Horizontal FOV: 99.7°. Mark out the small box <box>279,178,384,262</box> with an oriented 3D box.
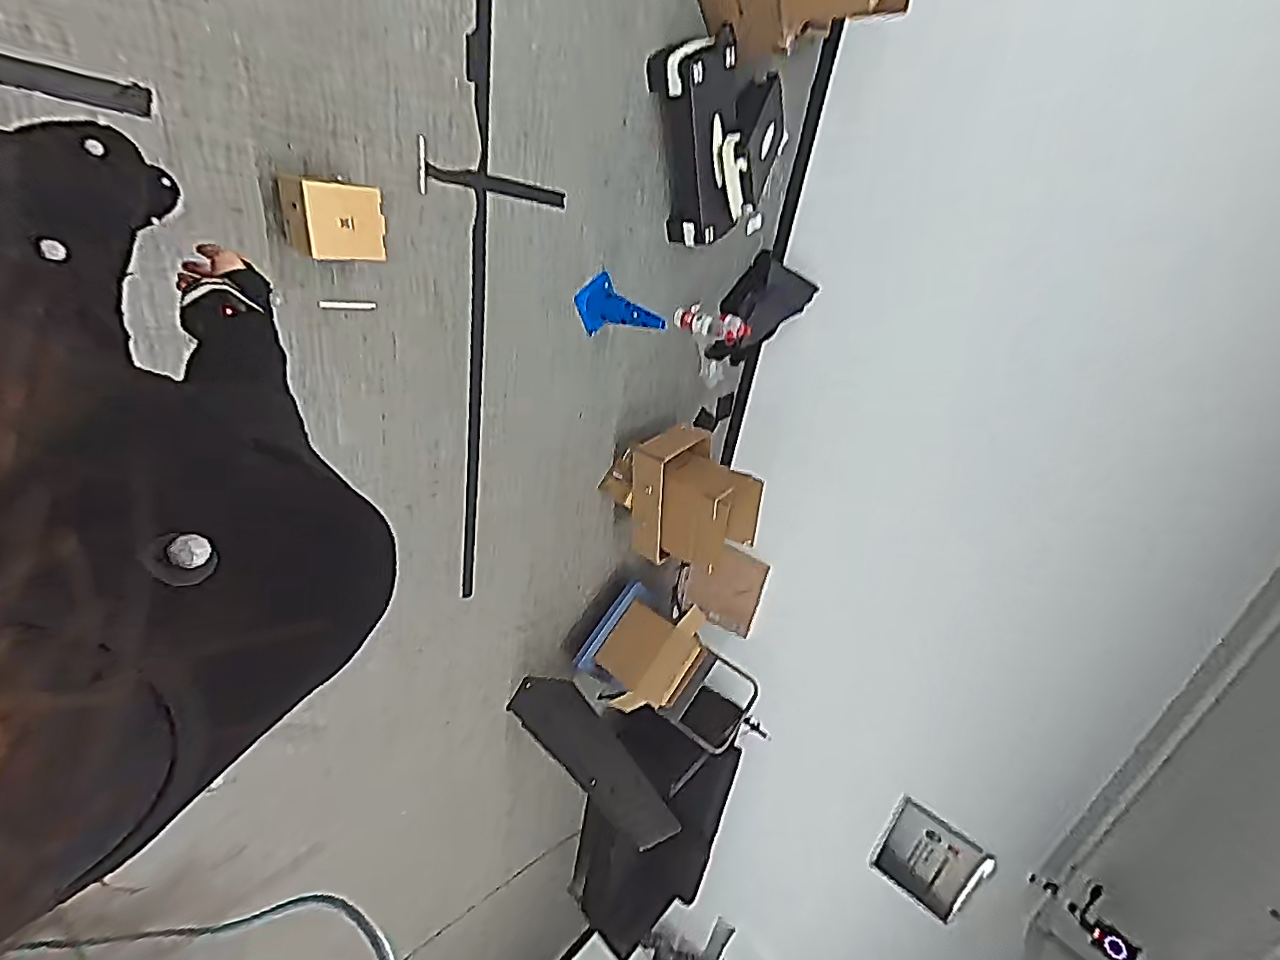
[{"bbox_3d":[-0.760,-0.639,1.331,0.179,0.176,0.168,-23,131,-45],"label":"small box"}]
